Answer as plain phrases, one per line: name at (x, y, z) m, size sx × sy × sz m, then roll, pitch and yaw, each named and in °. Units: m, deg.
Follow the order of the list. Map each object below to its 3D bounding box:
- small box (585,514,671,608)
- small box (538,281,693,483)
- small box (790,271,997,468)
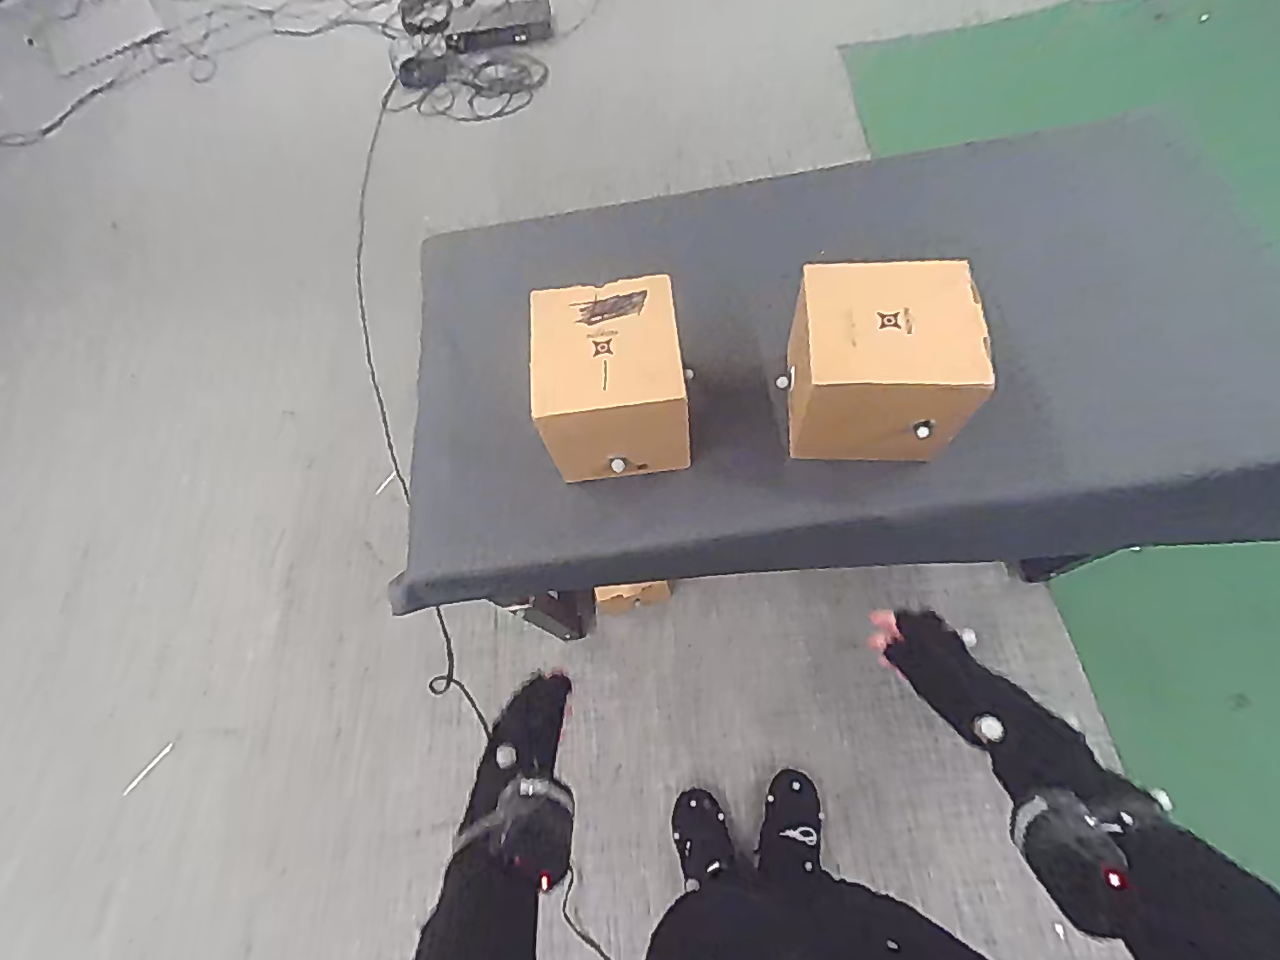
small box at (-0.024, 0.208, 1.334) m, size 0.168 × 0.176 × 0.179 m, roll -16°, pitch 66°, yaw 0°
small box at (-0.024, -0.114, 0.672) m, size 0.168 × 0.176 × 0.179 m, roll -6°, pitch 65°, yaw 4°
small box at (0.280, -0.123, 0.643) m, size 0.179 × 0.176 × 0.168 m, roll 1°, pitch 65°, yaw 9°
